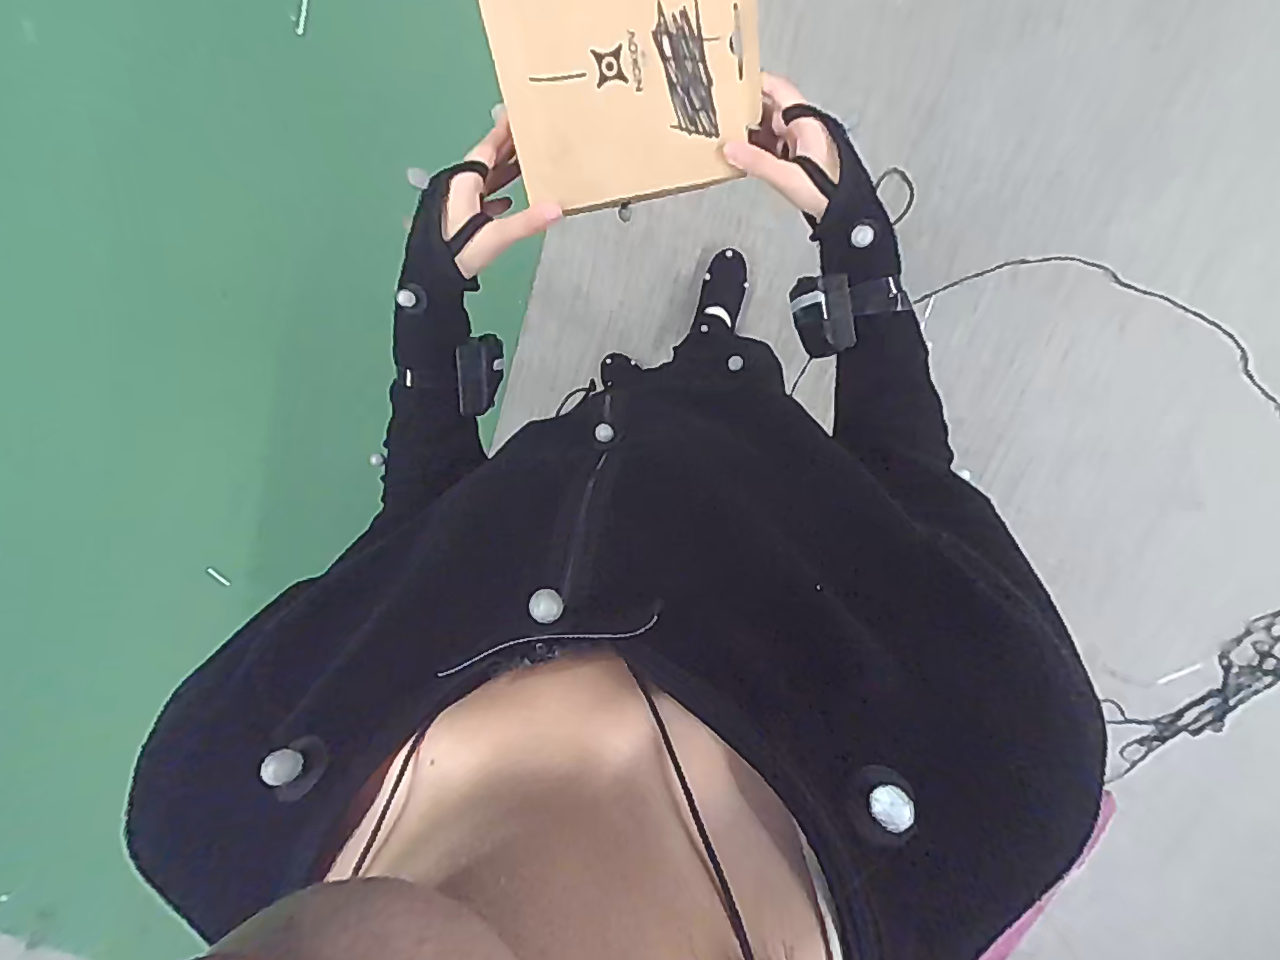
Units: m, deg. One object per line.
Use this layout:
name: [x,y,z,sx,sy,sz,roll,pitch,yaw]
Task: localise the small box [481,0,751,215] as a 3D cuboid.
small box: [-0.023,-0.326,0.449,0.179,0.176,0.168,-13,115,-2]
